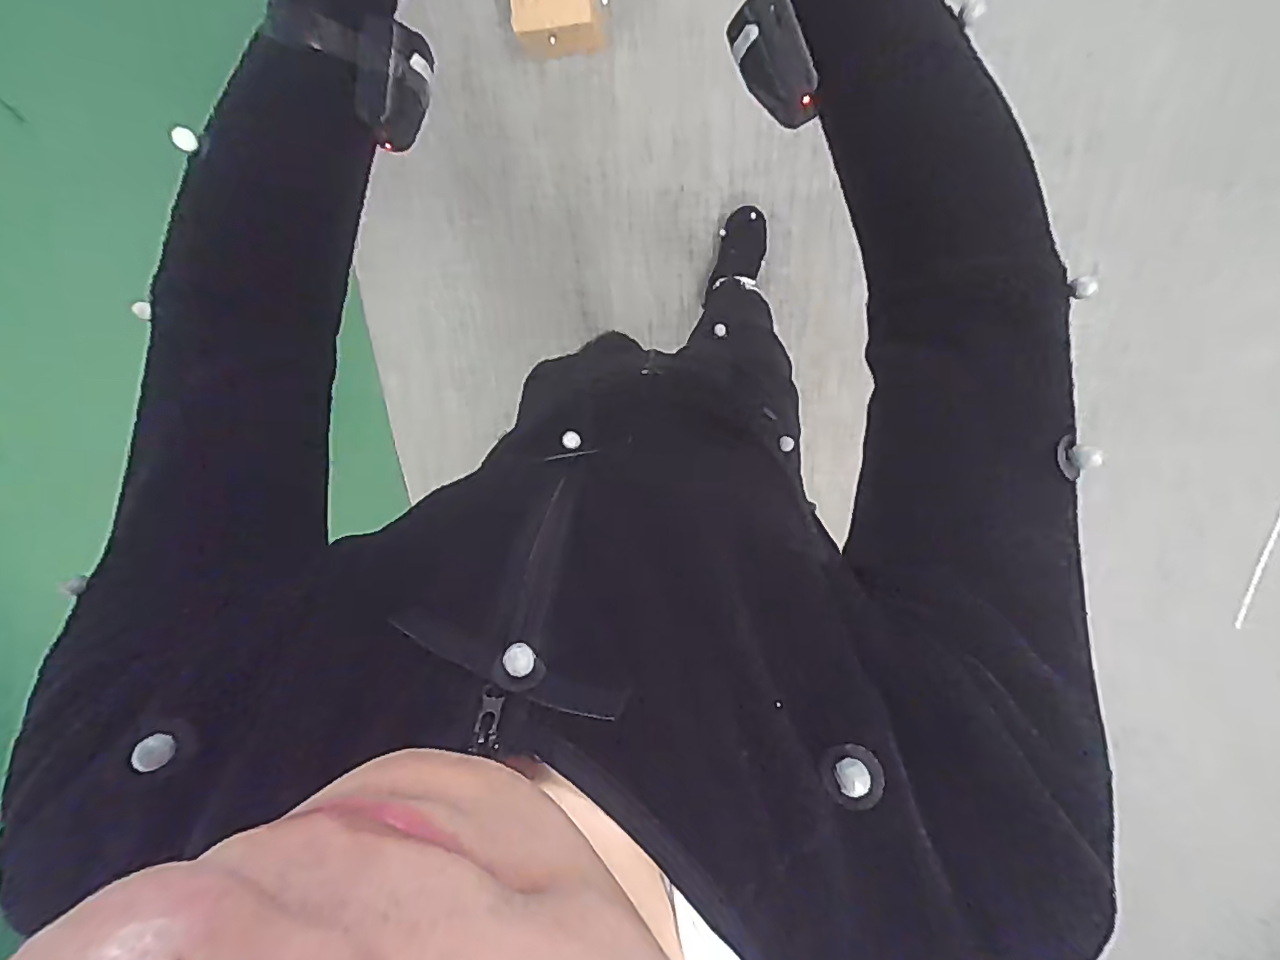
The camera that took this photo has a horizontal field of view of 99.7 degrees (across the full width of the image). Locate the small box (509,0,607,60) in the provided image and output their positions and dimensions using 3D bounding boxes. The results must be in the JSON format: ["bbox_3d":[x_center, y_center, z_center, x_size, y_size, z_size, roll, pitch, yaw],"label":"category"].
[{"bbox_3d":[-0.180,-1.057,1.189,0.179,0.176,0.168,0,112,10],"label":"small box"}]
